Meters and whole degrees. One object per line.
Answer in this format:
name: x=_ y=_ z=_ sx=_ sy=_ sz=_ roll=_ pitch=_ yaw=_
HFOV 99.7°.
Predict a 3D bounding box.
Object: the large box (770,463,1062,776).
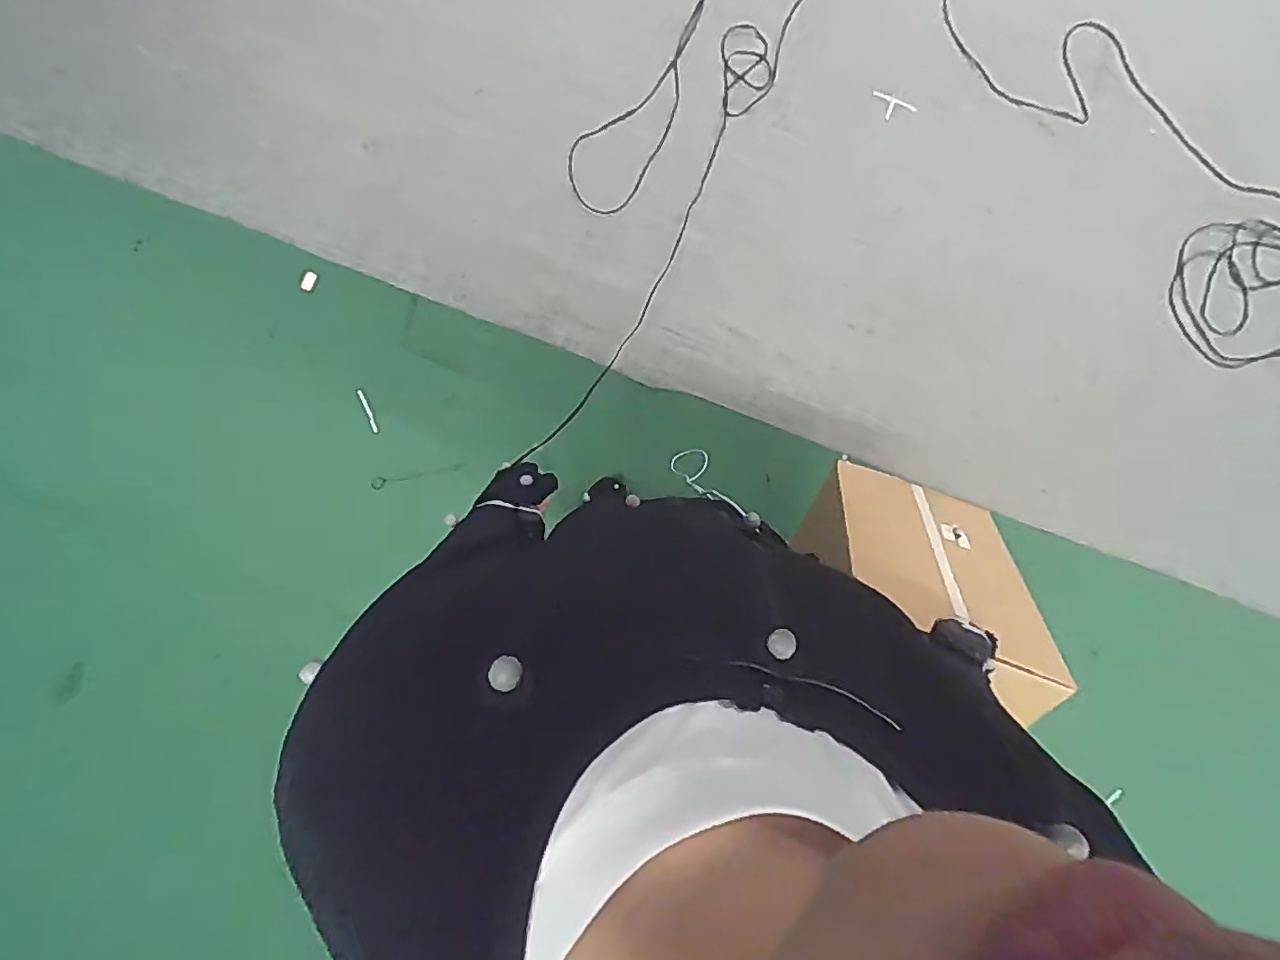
large box: x=0.440 y=0.238 z=0.988 sx=0.320 sy=0.408 sz=0.320 roll=21 pitch=126 yaw=1
